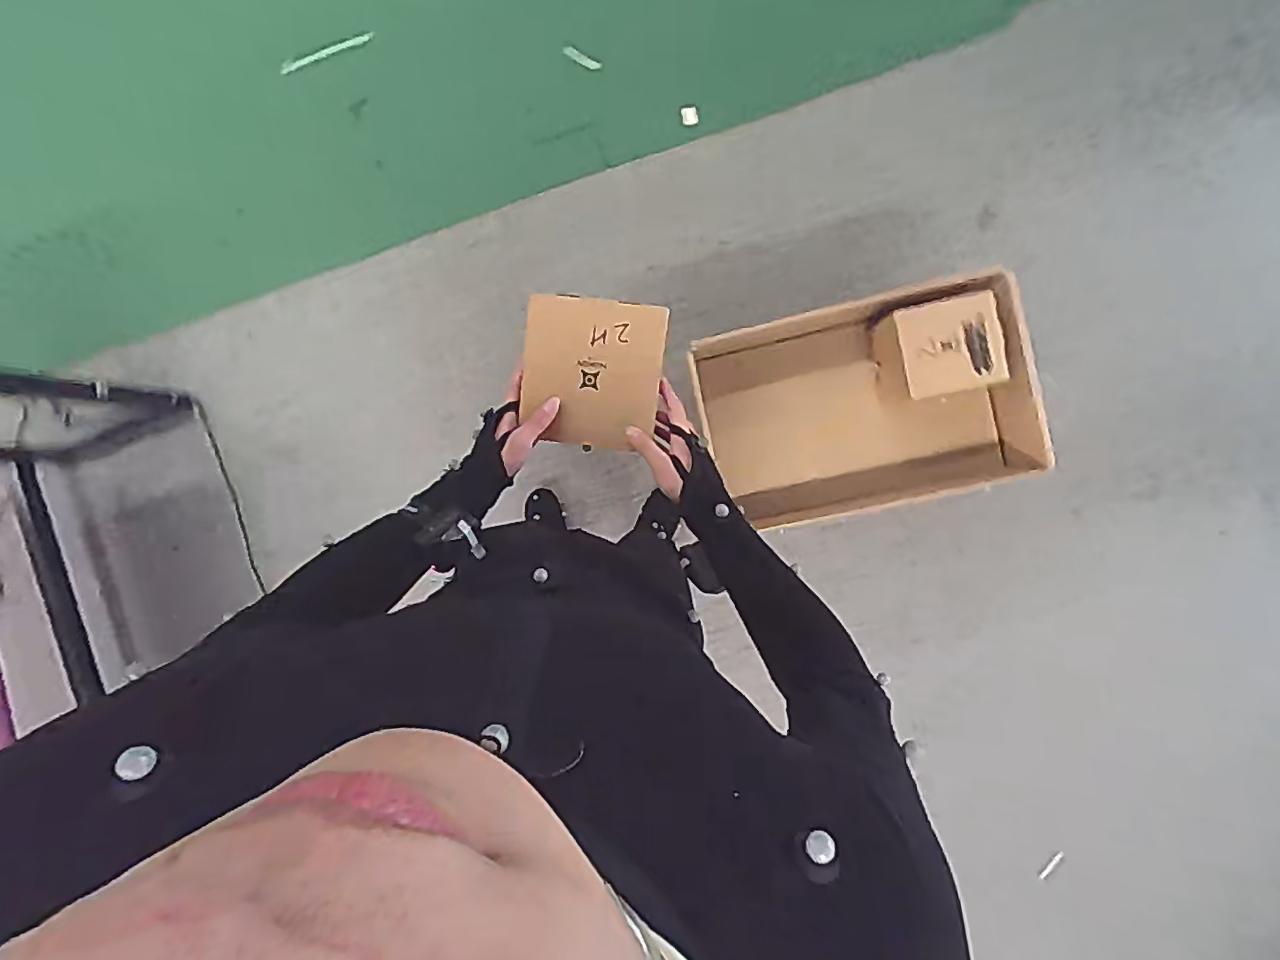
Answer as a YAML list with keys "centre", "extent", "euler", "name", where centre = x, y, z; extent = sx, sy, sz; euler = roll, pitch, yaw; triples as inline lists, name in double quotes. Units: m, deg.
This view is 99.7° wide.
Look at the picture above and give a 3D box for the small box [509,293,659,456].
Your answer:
- centre: [-0.066, -0.134, 0.716]
  extent: [0.168, 0.176, 0.179]
  euler: [6, 98, -1]
  name: "small box"
